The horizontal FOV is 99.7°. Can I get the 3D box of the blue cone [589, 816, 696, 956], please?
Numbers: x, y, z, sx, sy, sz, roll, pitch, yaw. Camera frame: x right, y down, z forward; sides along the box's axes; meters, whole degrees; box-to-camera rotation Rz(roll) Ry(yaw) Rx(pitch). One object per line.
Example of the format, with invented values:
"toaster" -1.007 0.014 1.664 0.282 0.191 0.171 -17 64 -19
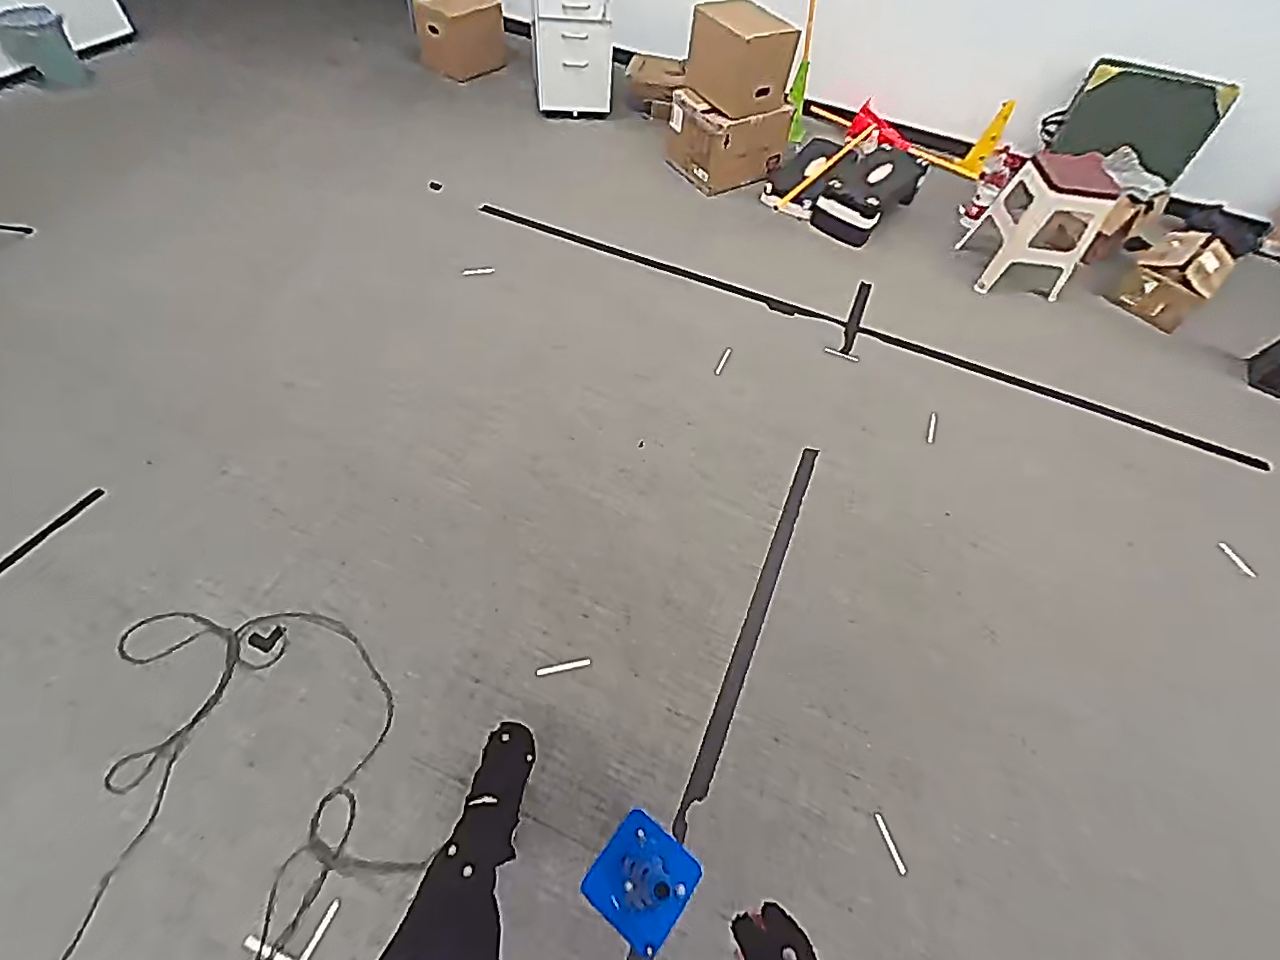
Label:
"blue cone" 0.023 0.765 1.018 0.192 0.380 0.193 37 60 17
